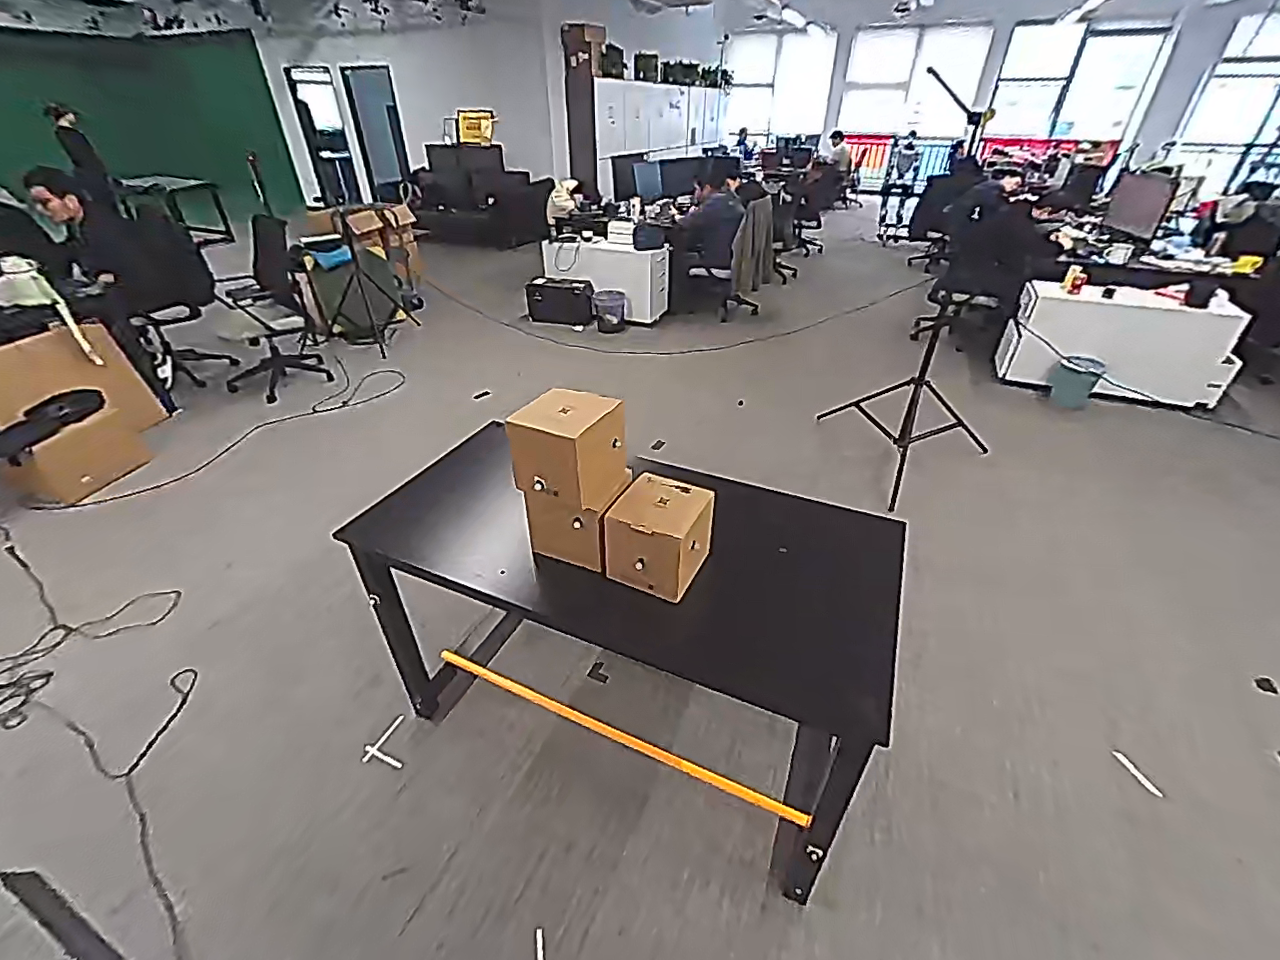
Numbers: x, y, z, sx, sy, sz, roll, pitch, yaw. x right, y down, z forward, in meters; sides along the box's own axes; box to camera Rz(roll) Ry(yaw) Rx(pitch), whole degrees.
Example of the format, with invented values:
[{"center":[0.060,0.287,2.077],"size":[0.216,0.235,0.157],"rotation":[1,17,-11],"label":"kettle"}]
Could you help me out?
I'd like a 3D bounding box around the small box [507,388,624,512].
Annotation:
[{"center":[-0.144,-0.064,1.100],"size":[0.168,0.176,0.179],"rotation":[15,38,23],"label":"small box"}]
